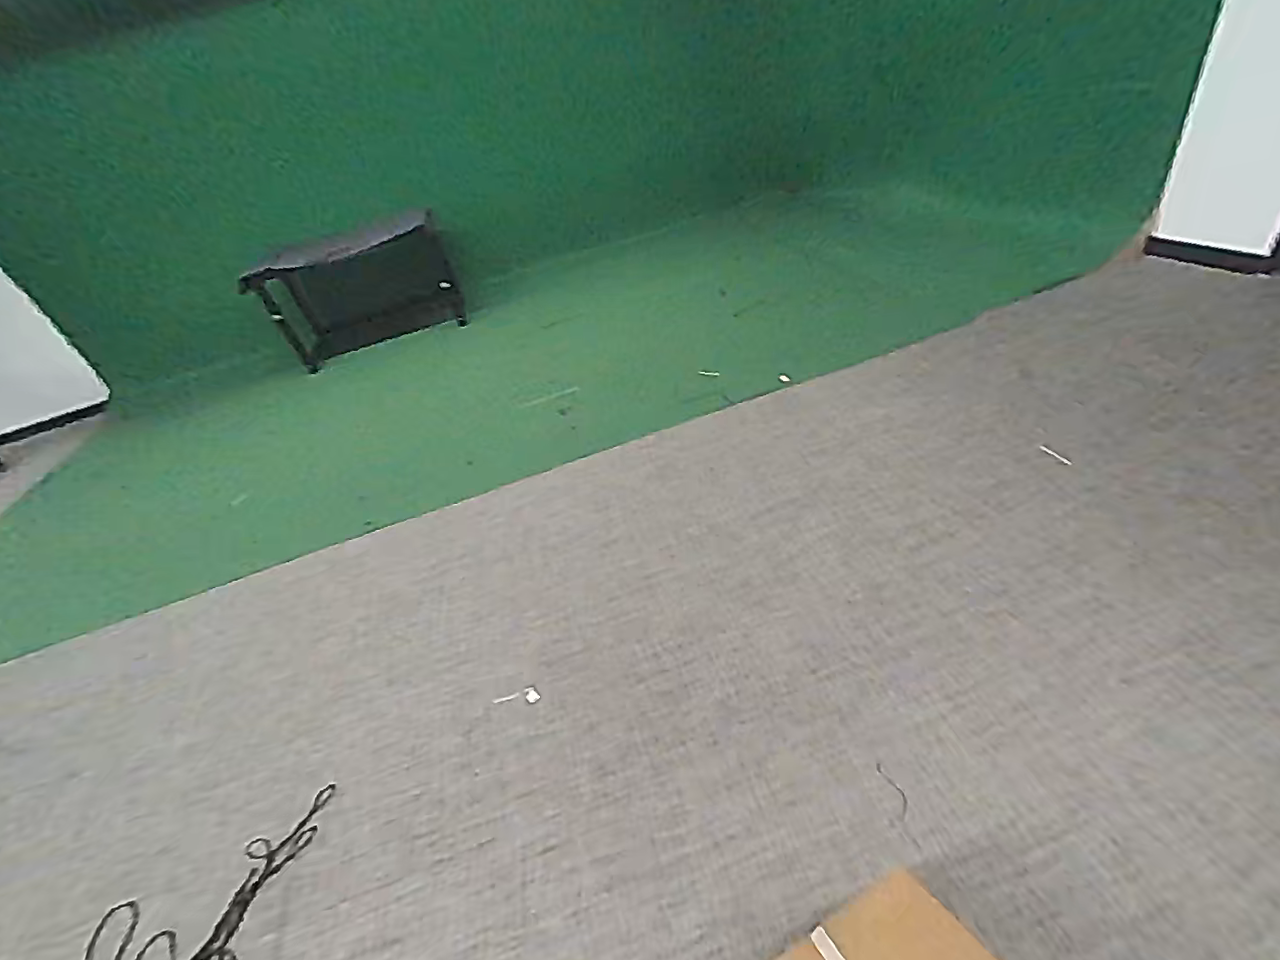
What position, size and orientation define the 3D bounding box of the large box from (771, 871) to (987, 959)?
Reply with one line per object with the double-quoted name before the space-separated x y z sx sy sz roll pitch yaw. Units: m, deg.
"large box" 0.345 0.756 0.565 0.320 0.320 0.408 -26 5 -13
